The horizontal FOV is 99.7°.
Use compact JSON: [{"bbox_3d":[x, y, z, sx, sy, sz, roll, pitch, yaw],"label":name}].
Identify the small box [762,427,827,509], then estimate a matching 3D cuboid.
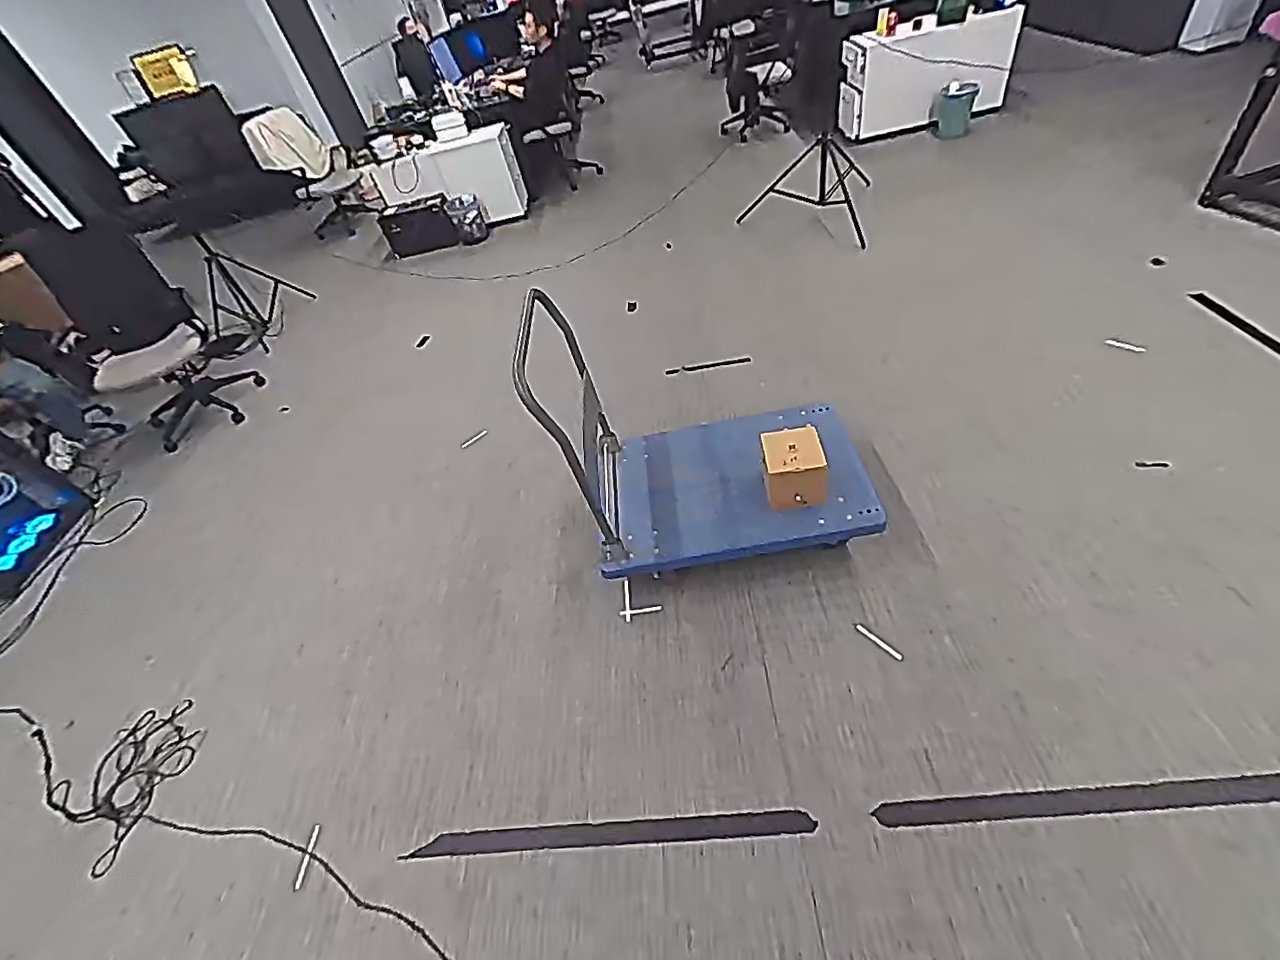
[{"bbox_3d":[0.467,-0.035,1.654,0.168,0.176,0.179,-8,46,9],"label":"small box"}]
